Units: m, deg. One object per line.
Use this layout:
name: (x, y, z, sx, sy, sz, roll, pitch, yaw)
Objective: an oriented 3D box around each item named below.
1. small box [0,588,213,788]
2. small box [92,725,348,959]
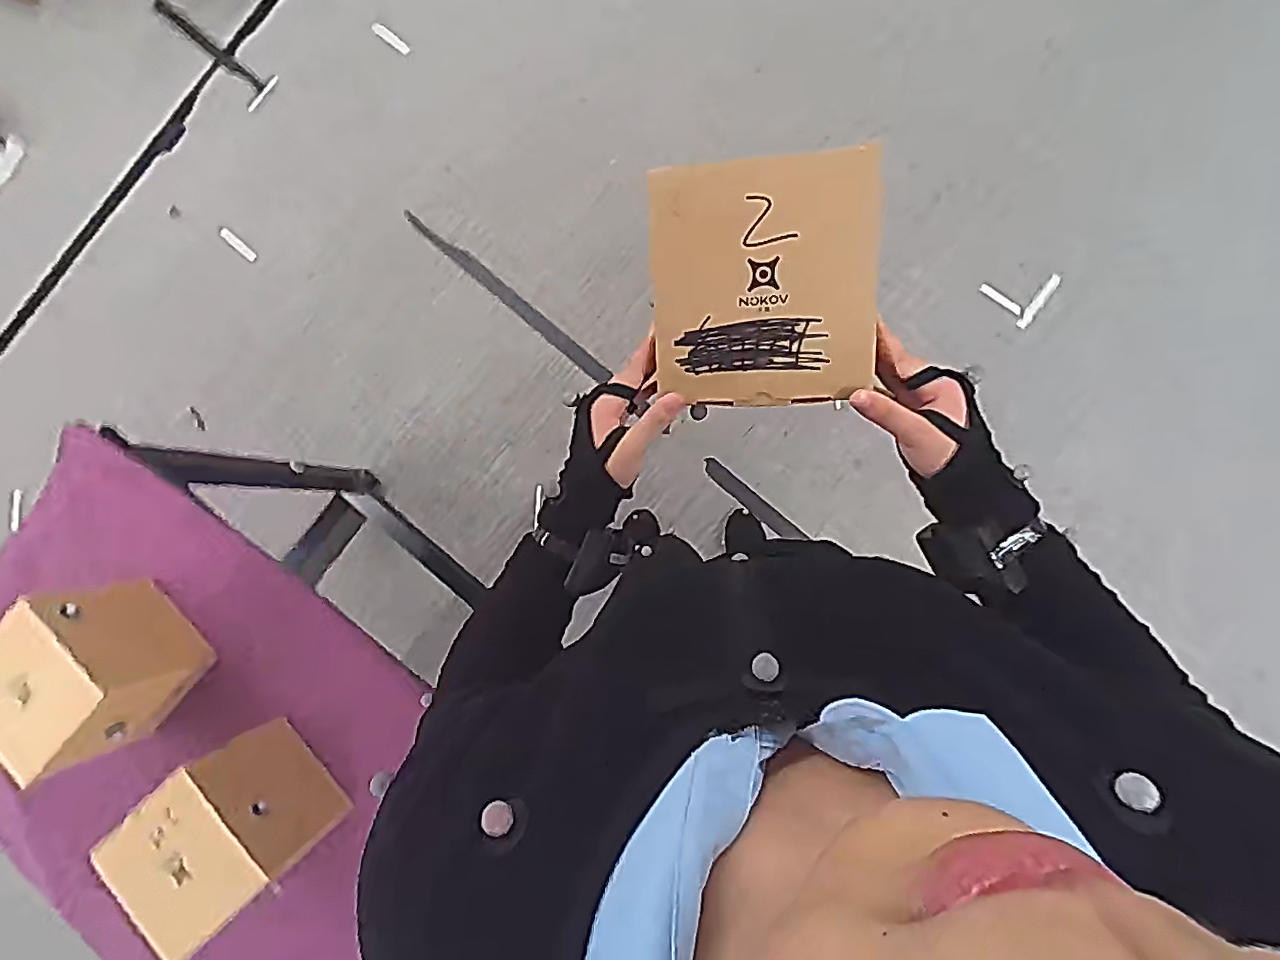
small box: (-0.764, 0.272, 0.757, 0.179, 0.176, 0.168, 42, 92, 6)
small box: (-0.541, 0.469, 0.724, 0.168, 0.176, 0.179, -44, 84, 1)
